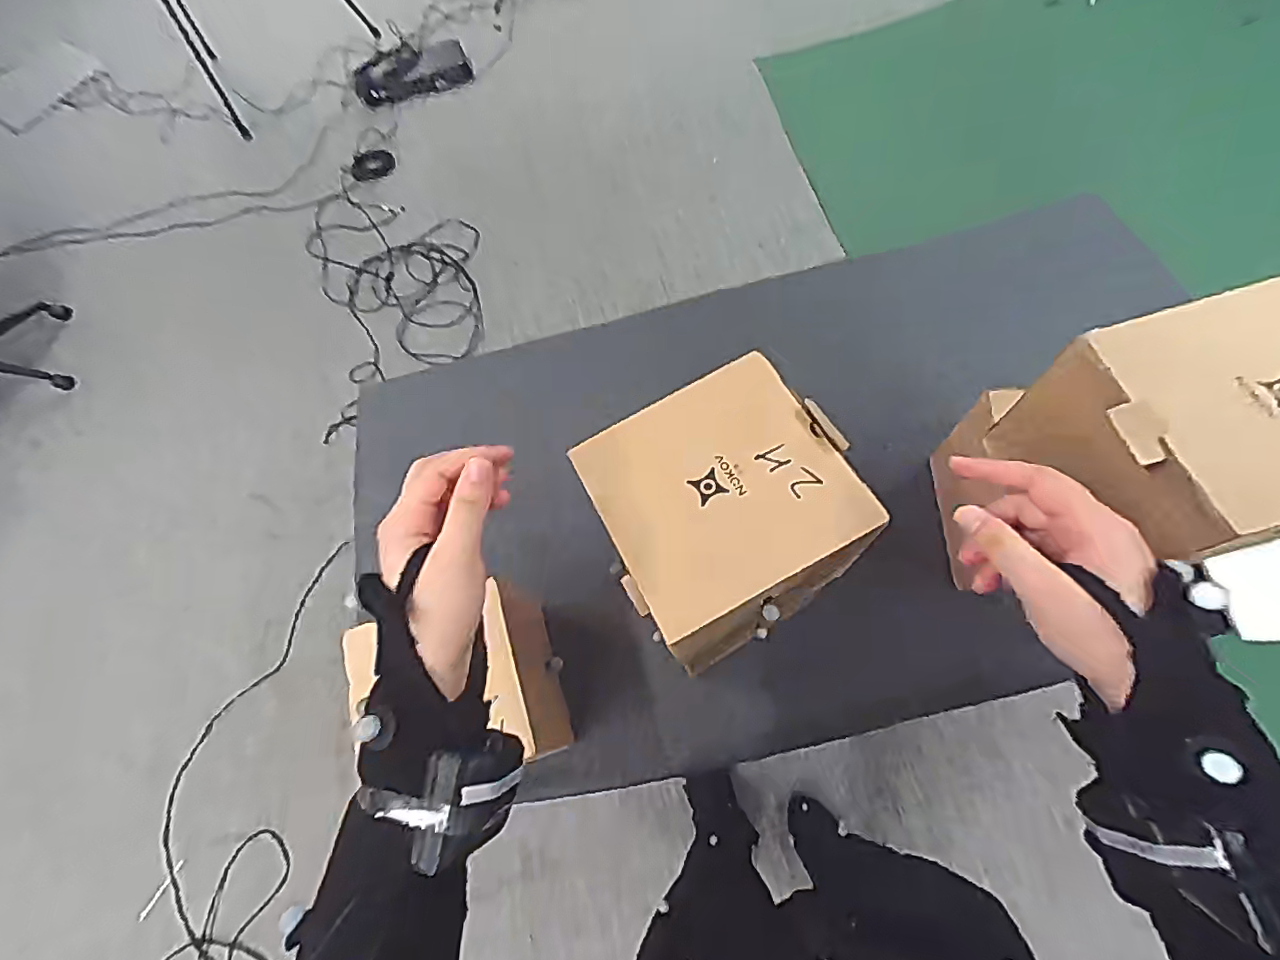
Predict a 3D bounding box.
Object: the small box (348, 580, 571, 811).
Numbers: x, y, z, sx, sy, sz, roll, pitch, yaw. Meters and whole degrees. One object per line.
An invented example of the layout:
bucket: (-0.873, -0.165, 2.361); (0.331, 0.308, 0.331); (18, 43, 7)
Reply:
small box: (-0.191, 0.235, 0.600); (0.168, 0.176, 0.179); (-20, 66, 0)

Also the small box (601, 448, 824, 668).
small box: (0.080, 0.100, 0.623); (0.179, 0.176, 0.168); (-30, 67, -6)

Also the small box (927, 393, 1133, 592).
small box: (0.443, 0.019, 0.603); (0.168, 0.176, 0.179); (-1, 67, 8)

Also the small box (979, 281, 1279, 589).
small box: (0.430, -0.024, 0.444); (0.179, 0.176, 0.168); (-17, 65, 2)
